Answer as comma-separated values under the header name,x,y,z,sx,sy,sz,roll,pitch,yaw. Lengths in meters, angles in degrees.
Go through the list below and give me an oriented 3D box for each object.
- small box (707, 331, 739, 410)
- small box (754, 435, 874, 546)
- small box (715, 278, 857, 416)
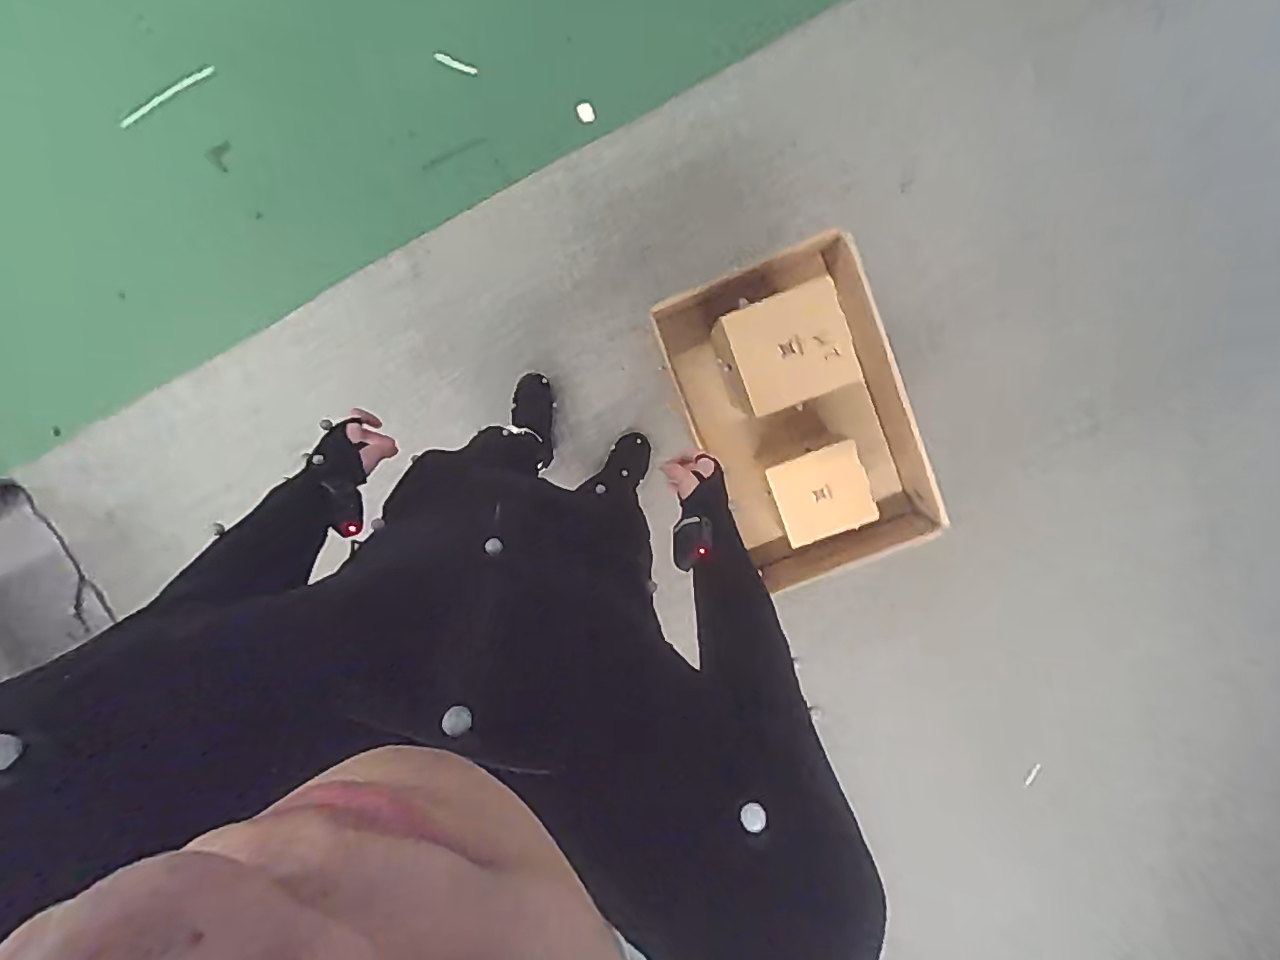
name,x,y,z,sx,sy,sz,roll,pitch,yaw
small box,0.243,-0.244,1.063,0.179,0.176,0.168,-18,97,5
small box,0.341,0.015,1.102,0.179,0.176,0.168,-20,97,5
small box,0.231,-0.212,0.903,0.179,0.176,0.168,-20,99,6
